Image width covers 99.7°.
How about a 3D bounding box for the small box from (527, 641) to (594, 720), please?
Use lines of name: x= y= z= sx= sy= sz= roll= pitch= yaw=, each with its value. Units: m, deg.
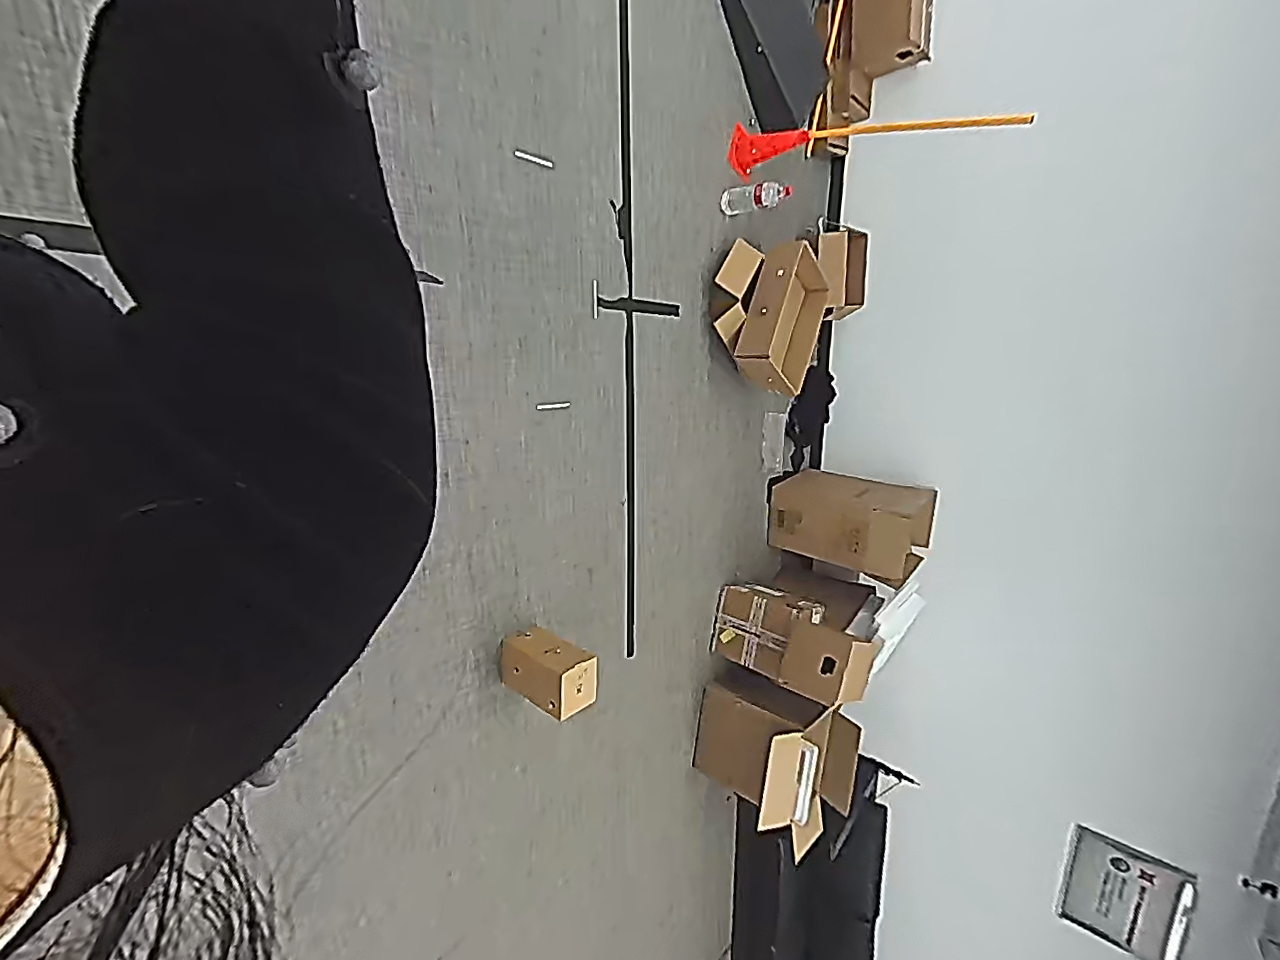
small box: x=-0.278 y=0.689 z=1.876 sx=0.168 sy=0.176 sz=0.179 roll=-10 pitch=106 yaw=-50
